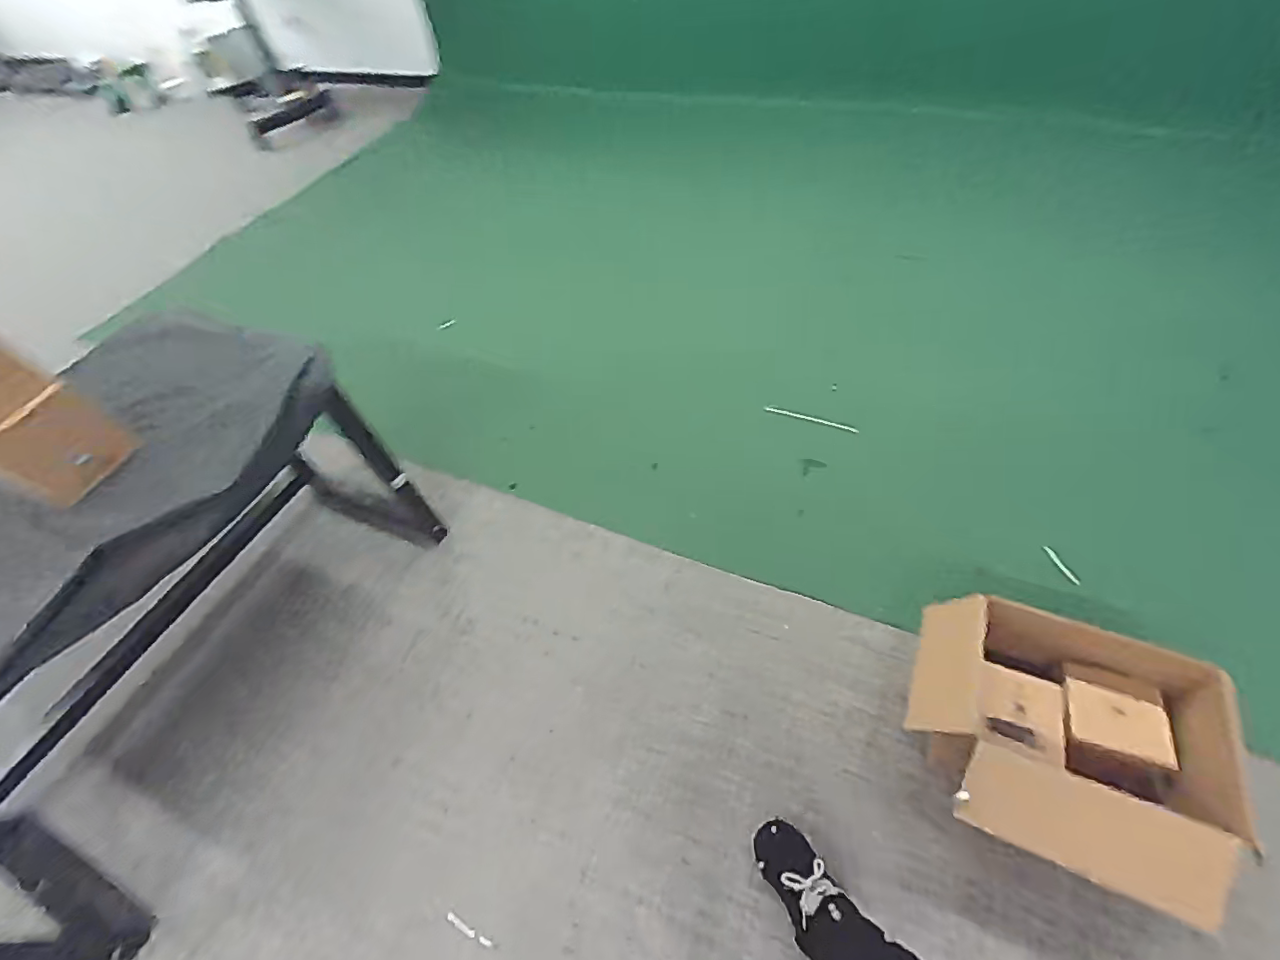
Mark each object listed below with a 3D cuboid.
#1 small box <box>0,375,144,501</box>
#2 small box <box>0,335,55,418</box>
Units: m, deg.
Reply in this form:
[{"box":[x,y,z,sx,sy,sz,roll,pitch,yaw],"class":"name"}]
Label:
[{"box":[-1.088,-0.084,0.986,0.179,0.176,0.168,15,58,17],"class":"small box"},{"box":[-1.119,-0.176,0.854,0.168,0.176,0.179,14,56,17],"class":"small box"}]
